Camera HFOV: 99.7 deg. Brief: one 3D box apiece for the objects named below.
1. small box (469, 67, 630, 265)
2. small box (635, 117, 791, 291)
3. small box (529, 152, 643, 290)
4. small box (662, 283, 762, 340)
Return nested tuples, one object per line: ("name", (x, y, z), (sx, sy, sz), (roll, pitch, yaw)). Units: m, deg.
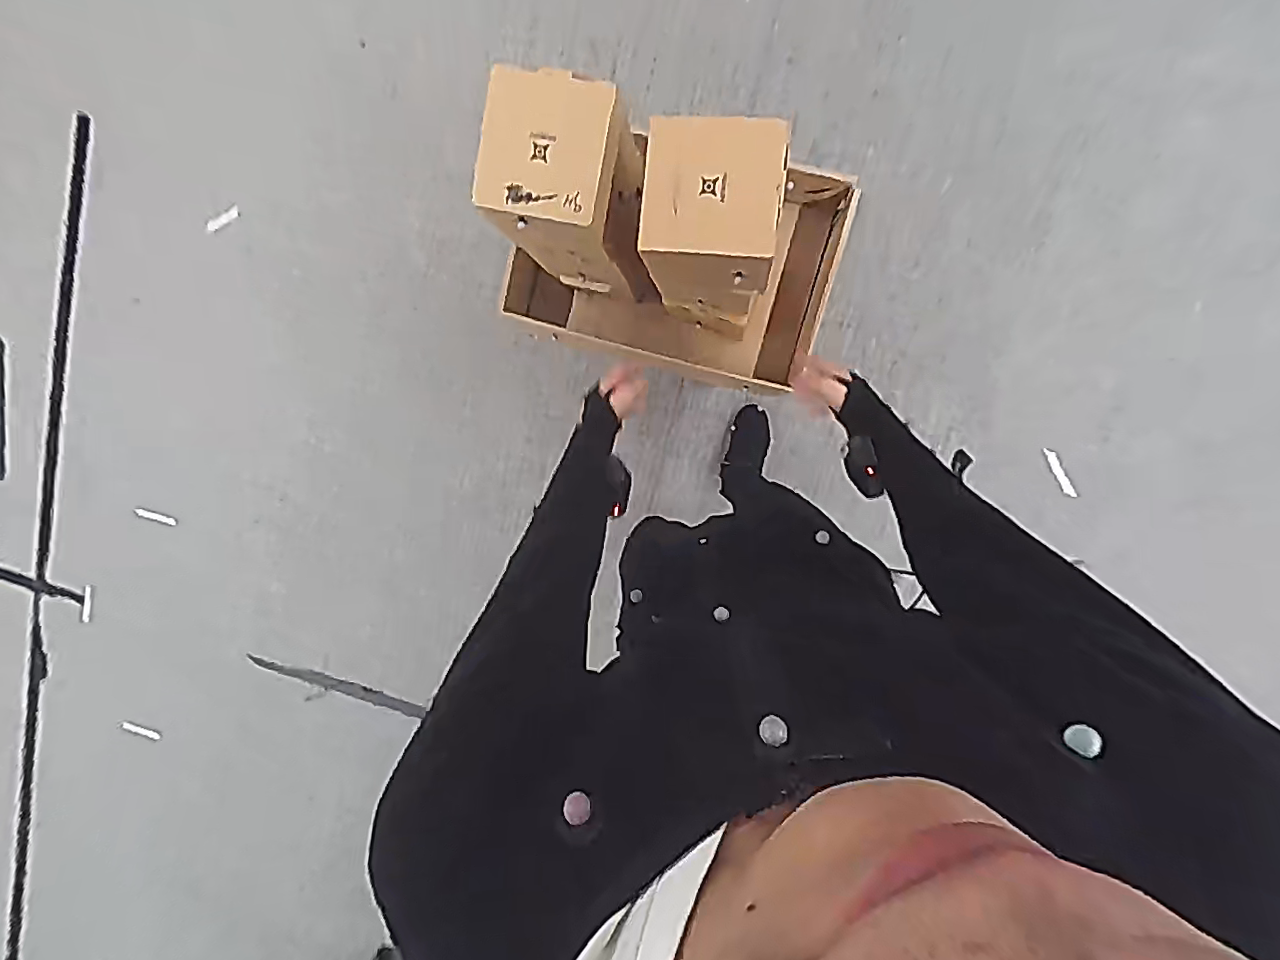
("small box", (-0.116, -0.429, 0.765), (0.168, 0.176, 0.179), (13, 97, 7))
("small box", (0.101, -0.368, 0.749), (0.179, 0.176, 0.168), (8, 96, 9))
("small box", (-0.090, -0.446, 0.928), (0.168, 0.176, 0.179), (13, 98, 6))
("small box", (0.154, -0.393, 1.071), (0.168, 0.176, 0.179), (18, 99, 7))
